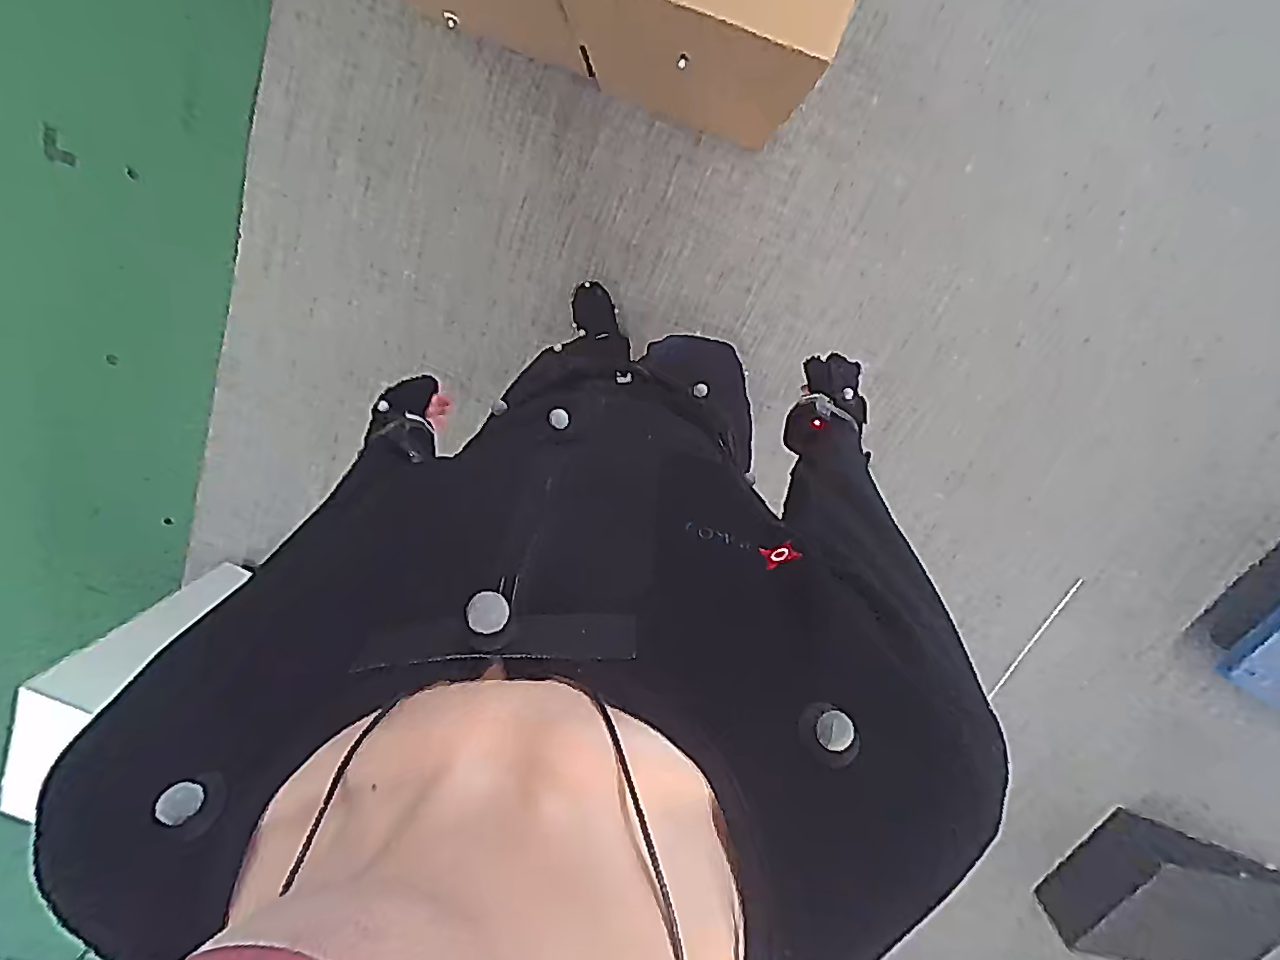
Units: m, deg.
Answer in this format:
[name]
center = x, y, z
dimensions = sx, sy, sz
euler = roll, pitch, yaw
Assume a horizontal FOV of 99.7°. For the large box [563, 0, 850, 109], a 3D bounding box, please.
[large box]
center = 0.115, -0.800, 0.773
dimensions = 0.408, 0.320, 0.320
euler = 18, 111, -3
